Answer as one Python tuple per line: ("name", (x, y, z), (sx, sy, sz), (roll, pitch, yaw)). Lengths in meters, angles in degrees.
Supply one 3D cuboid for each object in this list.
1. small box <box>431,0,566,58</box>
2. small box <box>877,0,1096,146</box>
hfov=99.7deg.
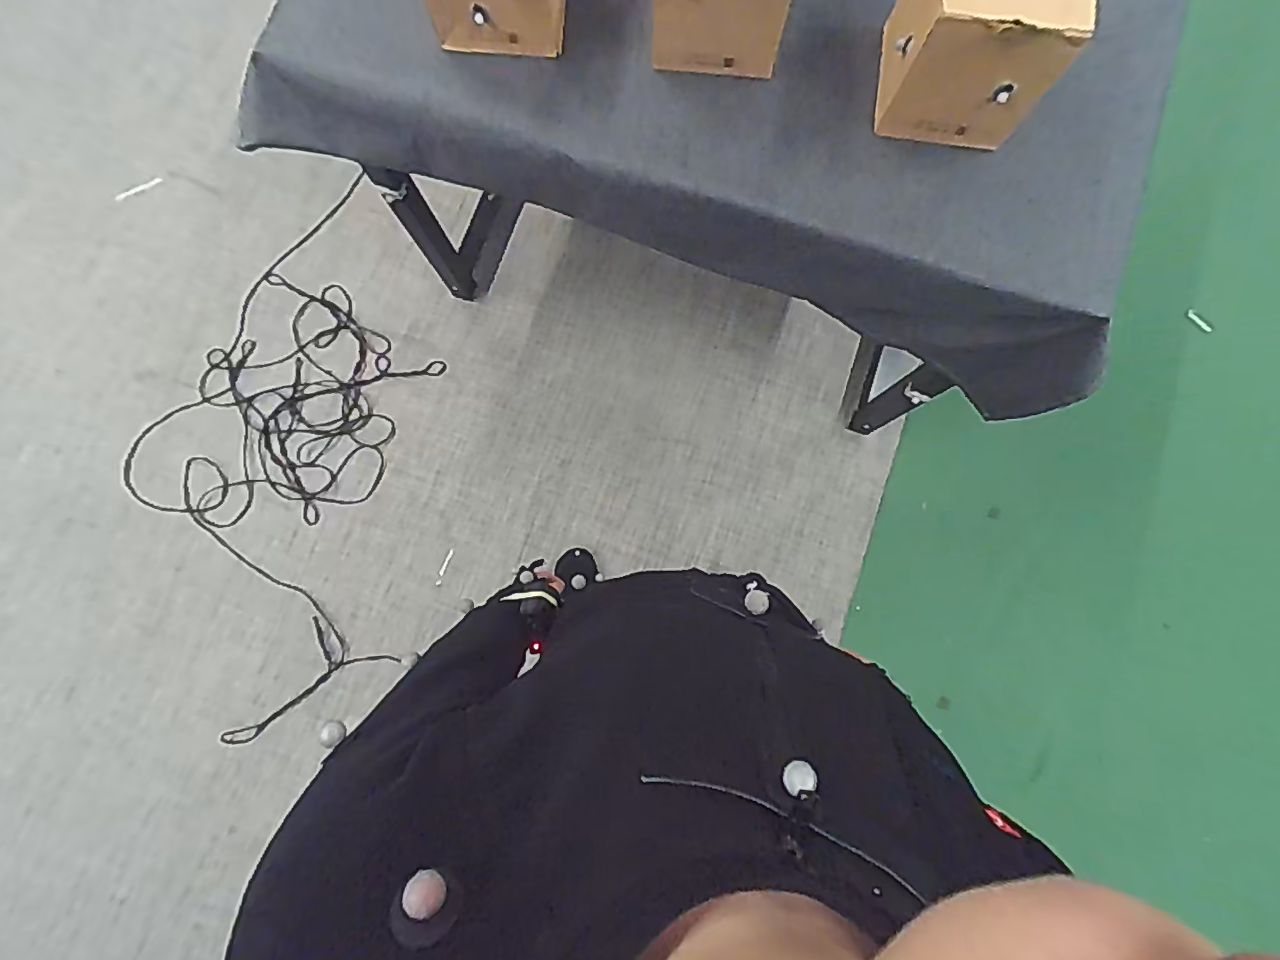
("small box", (-0.185, -0.688, 0.681), (0.168, 0.176, 0.179), (4, 82, 0))
("small box", (0.409, -0.550, 0.661), (0.168, 0.176, 0.179), (8, 80, 0))
